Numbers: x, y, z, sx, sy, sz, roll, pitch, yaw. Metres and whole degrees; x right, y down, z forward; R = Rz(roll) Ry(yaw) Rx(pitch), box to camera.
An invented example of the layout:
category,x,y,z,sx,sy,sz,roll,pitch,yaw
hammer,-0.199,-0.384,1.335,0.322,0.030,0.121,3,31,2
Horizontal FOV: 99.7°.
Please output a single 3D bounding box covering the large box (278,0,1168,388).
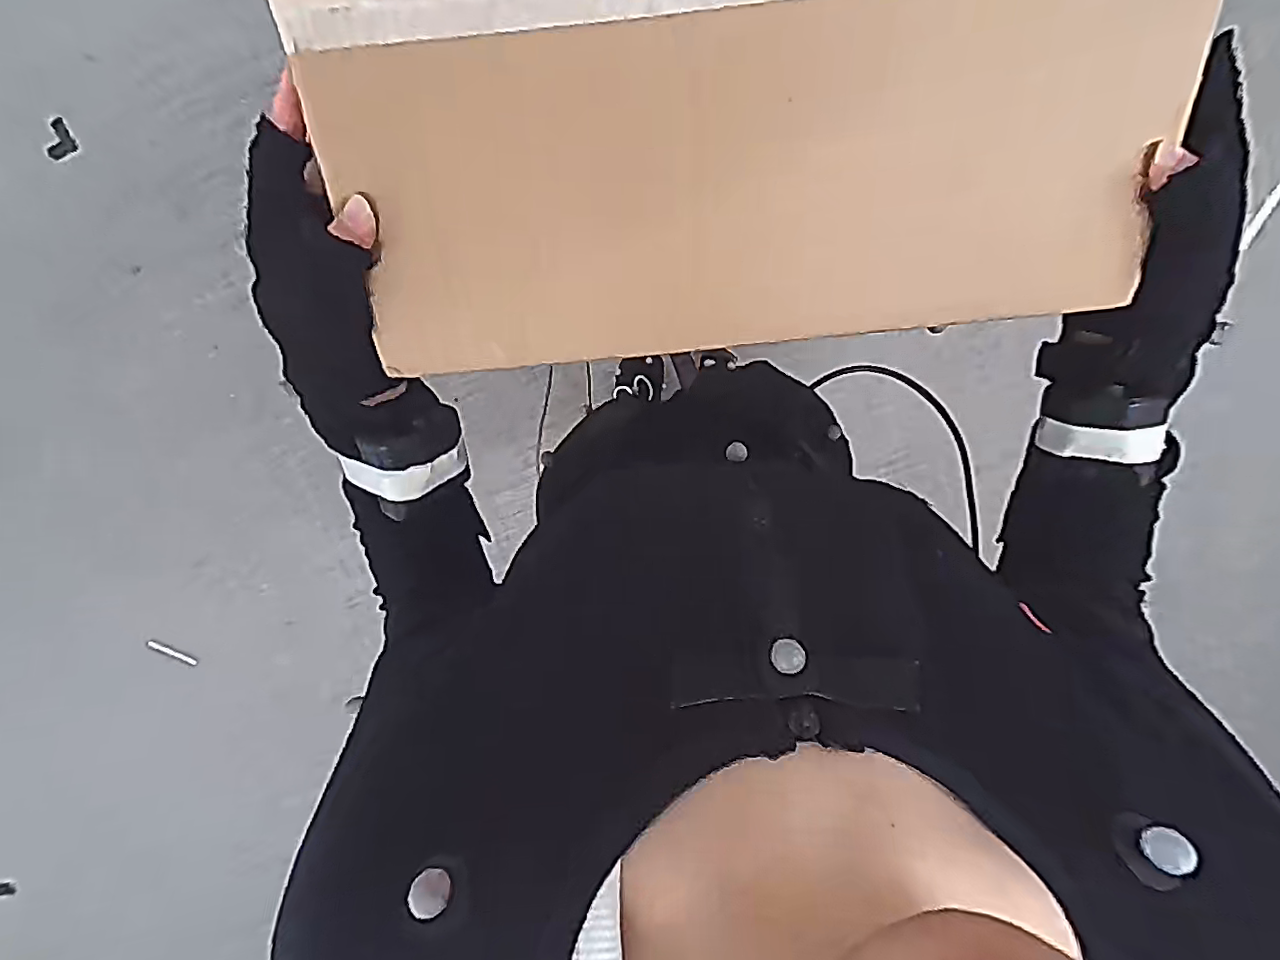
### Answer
category,x,y,z,sx,sy,sz,roll,pitch,yaw
large box,0.038,-0.278,0.374,0.408,0.320,0.320,-6,115,2
